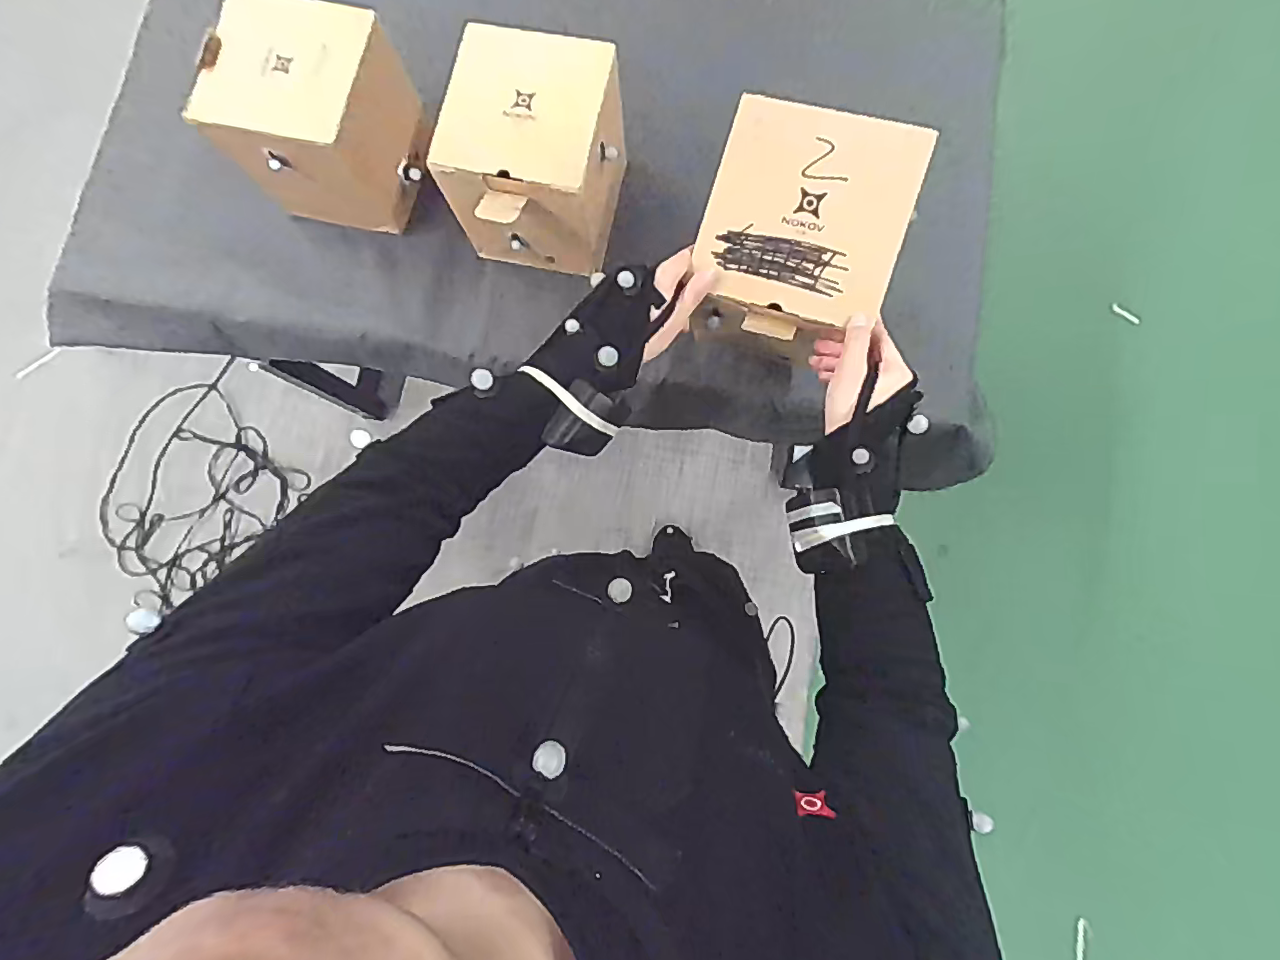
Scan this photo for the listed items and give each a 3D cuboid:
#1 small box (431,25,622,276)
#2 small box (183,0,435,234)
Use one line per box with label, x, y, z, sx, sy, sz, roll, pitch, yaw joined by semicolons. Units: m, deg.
small box;-0.118;-0.376;0.641;0.168;0.176;0.179;11;82;4
small box;-0.382;-0.429;0.658;0.179;0.176;0.168;13;82;3
